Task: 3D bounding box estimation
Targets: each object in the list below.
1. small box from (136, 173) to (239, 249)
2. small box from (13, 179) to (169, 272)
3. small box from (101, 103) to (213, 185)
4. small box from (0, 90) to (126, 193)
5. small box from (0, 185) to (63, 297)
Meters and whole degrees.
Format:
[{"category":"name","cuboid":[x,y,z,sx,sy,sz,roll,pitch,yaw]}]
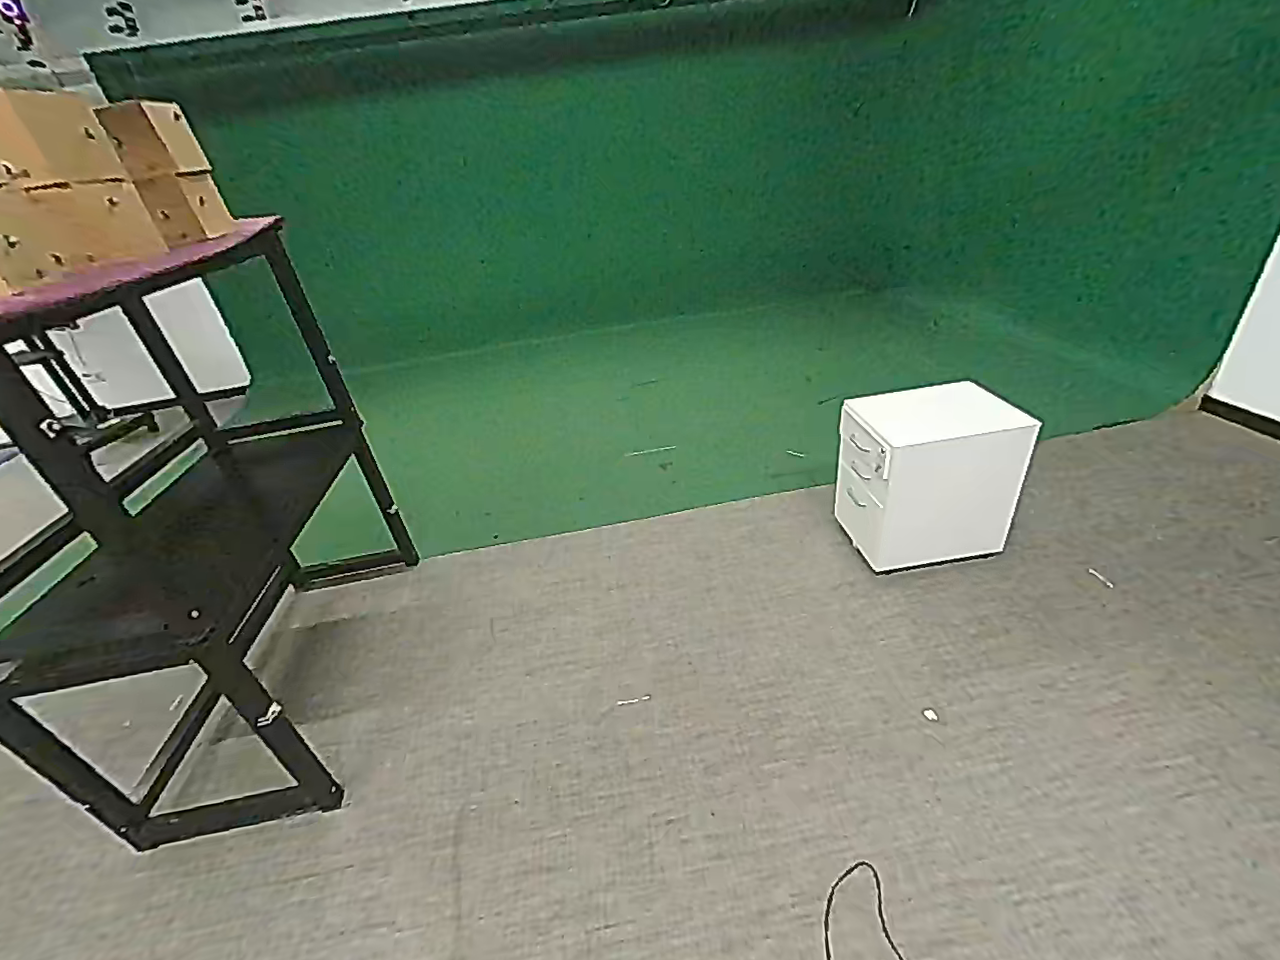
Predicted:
[{"category":"small box","cuboid":[-1.324,-0.782,1.577,0.168,0.176,0.179,-12,33,-2]},{"category":"small box","cuboid":[-1.261,-0.589,1.256,0.168,0.176,0.179,-9,31,-2]},{"category":"small box","cuboid":[-1.337,-0.920,1.489,0.168,0.176,0.179,-12,33,-2]},{"category":"small box","cuboid":[-1.280,-0.723,1.167,0.168,0.176,0.179,-5,33,6]},{"category":"small box","cuboid":[-1.167,-0.396,0.920,0.179,0.176,0.168,-16,31,-14]}]
